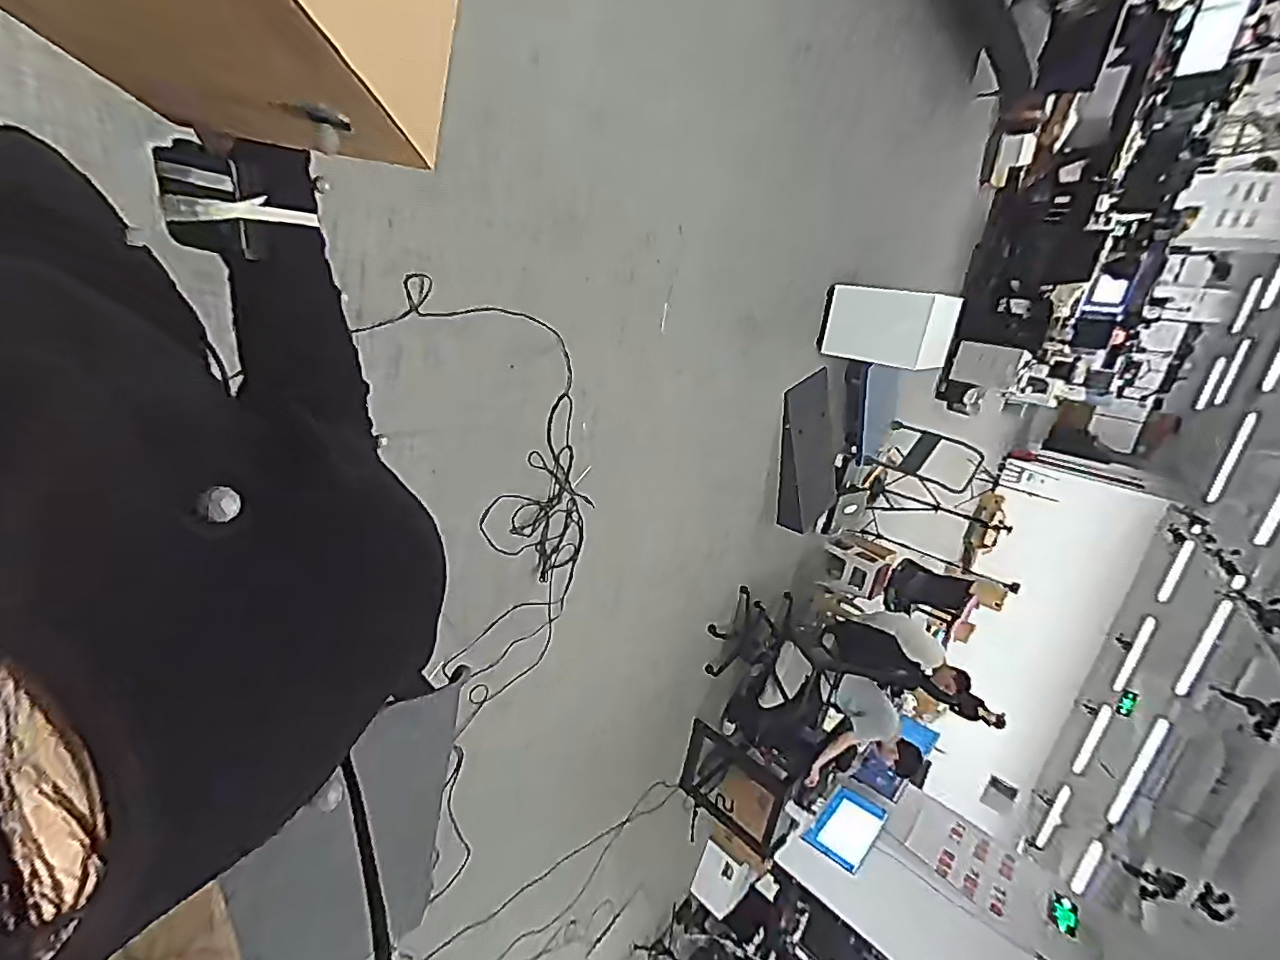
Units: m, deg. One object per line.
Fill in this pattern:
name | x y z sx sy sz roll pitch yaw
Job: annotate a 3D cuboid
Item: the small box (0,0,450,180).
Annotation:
small box | -0.204 -0.279 0.253 0.179 0.176 0.168 -89 -170 -86
